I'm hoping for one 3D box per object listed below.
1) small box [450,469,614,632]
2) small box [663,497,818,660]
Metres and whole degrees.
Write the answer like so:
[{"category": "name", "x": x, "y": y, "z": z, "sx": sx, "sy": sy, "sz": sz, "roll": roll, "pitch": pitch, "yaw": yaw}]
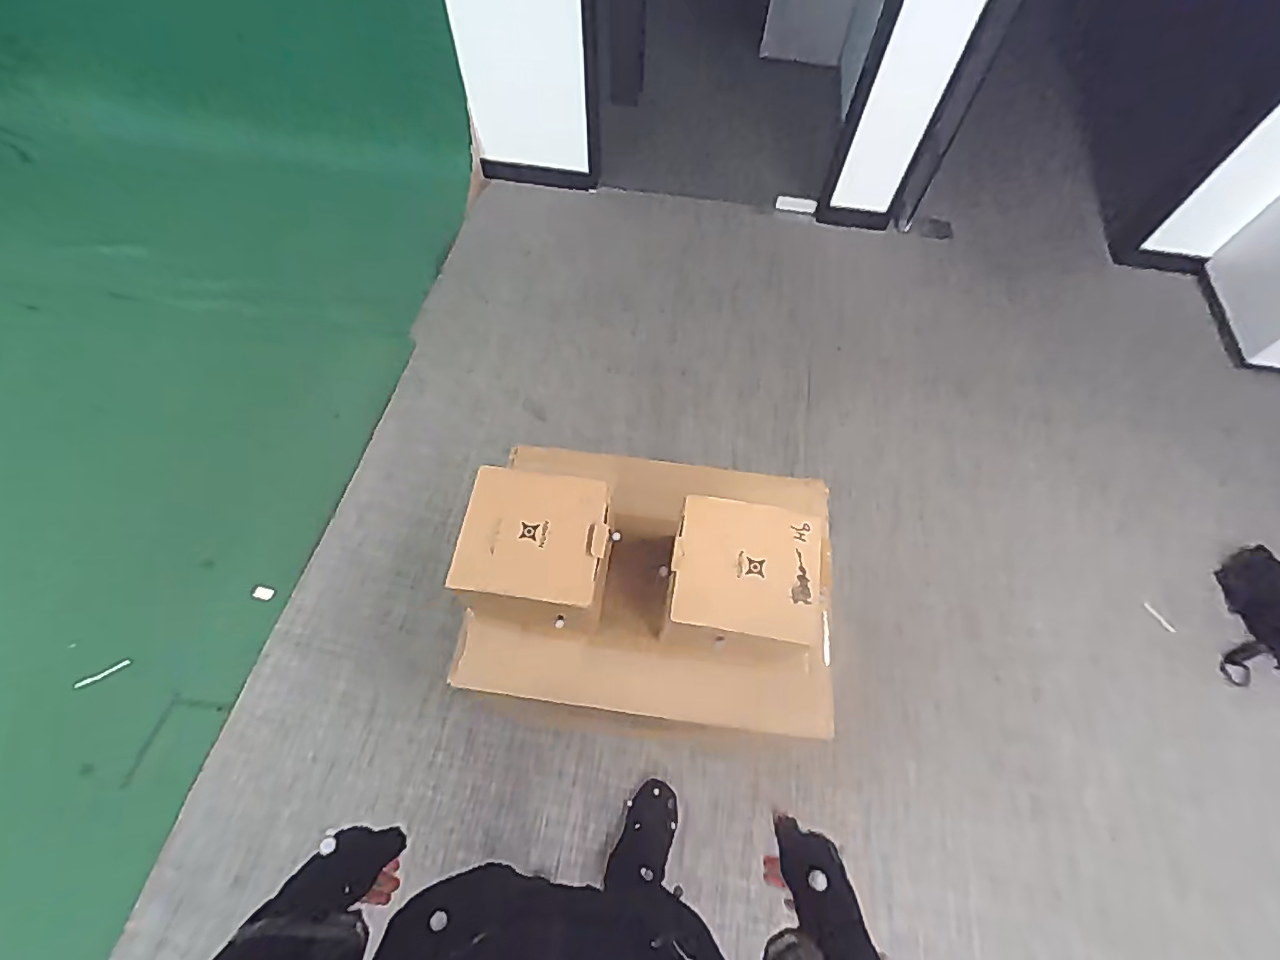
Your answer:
[{"category": "small box", "x": -0.131, "y": 0.104, "z": 0.741, "sx": 0.179, "sy": 0.176, "sz": 0.168, "roll": 7, "pitch": 63, "yaw": 2}, {"category": "small box", "x": 0.128, "y": 0.140, "z": 0.732, "sx": 0.179, "sy": 0.176, "sz": 0.168, "roll": 9, "pitch": 65, "yaw": 3}]
